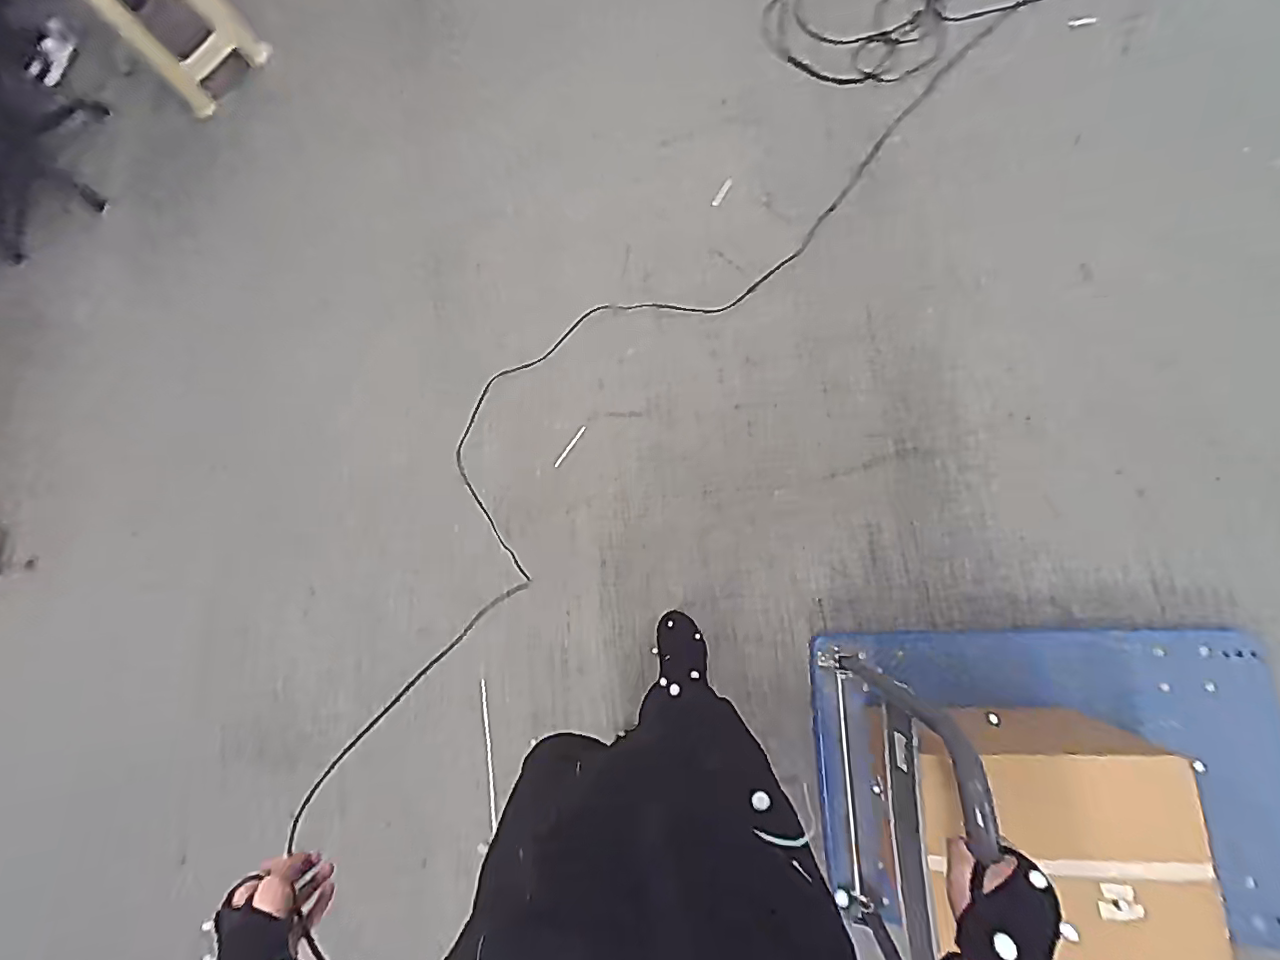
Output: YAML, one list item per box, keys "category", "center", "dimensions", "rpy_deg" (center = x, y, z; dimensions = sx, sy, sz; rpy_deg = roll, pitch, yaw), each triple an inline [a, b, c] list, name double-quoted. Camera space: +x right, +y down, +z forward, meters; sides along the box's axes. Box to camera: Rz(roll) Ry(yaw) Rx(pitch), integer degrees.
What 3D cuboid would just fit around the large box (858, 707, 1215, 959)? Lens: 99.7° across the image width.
- category: "large box"
  center: [0.657, 0.610, 0.985]
  dimensions: [0.408, 0.320, 0.320]
  rpy_deg: [-4, 80, 8]
